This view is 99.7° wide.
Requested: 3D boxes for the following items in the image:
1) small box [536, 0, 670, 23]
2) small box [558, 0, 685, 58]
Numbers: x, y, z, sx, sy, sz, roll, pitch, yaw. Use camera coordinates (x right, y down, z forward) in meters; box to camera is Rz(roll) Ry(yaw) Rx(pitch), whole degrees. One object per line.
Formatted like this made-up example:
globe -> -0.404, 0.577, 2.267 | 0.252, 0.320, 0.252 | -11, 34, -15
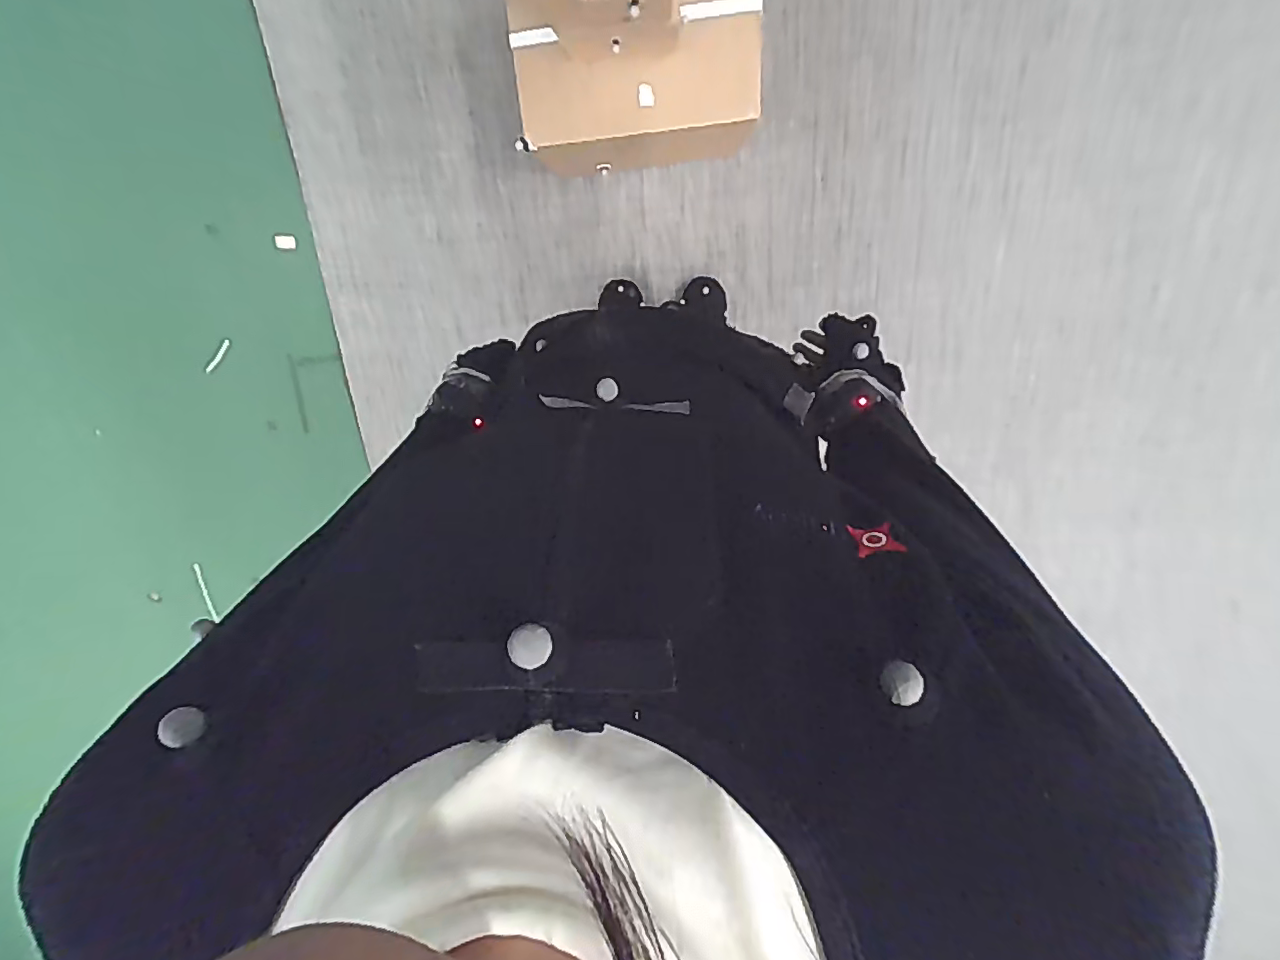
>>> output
small box -> -0.050, -0.662, 0.627 | 0.168, 0.176, 0.179 | -2, 116, 4
small box -> -0.030, -0.730, 0.772 | 0.179, 0.176, 0.168 | -4, 118, 6
